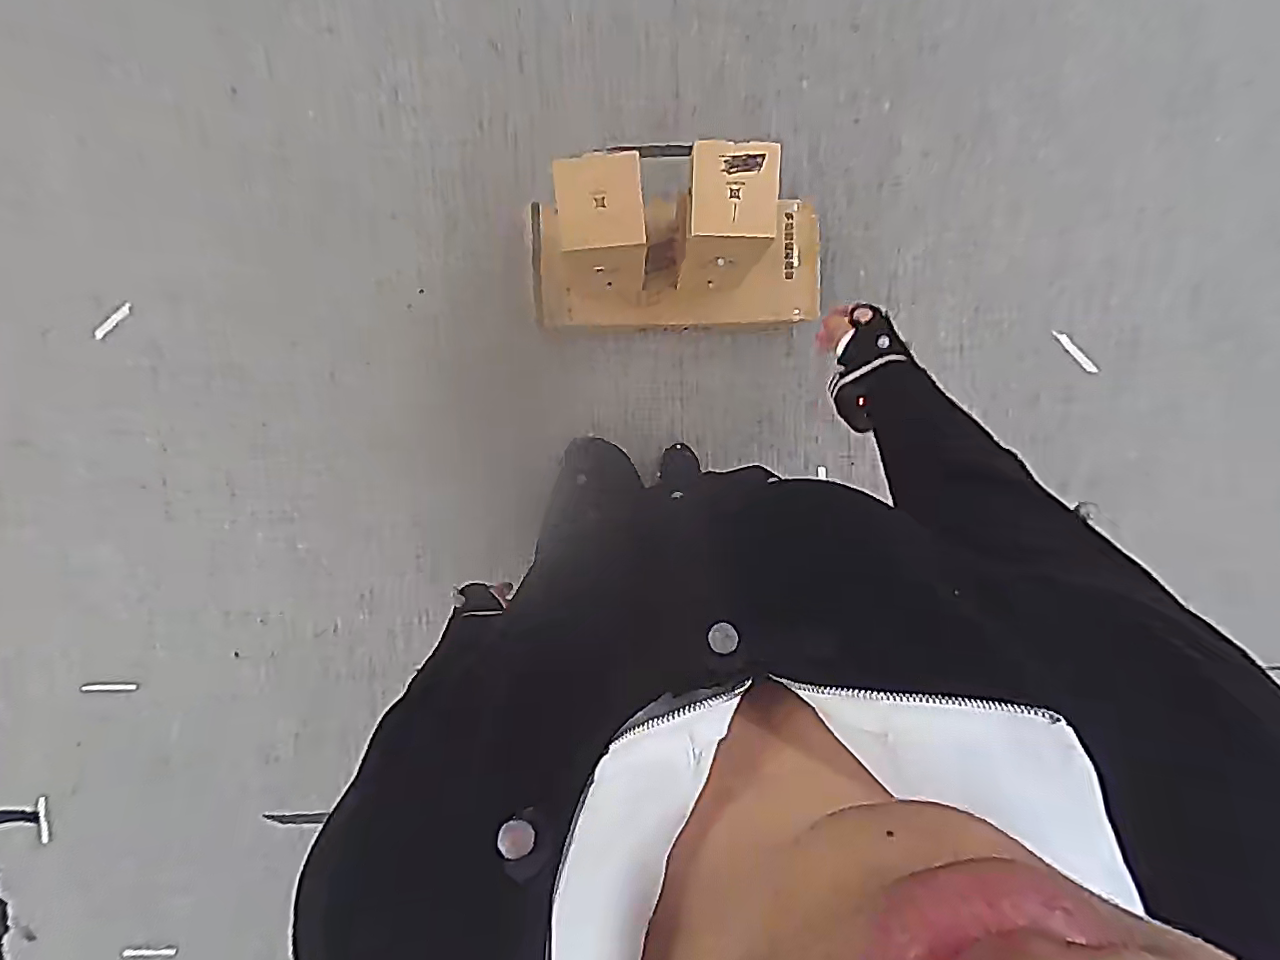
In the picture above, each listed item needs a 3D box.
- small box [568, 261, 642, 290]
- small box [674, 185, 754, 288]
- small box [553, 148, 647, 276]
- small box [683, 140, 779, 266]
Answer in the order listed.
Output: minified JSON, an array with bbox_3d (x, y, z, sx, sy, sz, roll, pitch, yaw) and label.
[{"bbox_3d":[-0.081,-0.551,1.263,0.168,0.176,0.179,-4,95,0],"label":"small box"},{"bbox_3d":[0.167,-0.565,1.266,0.168,0.176,0.179,-2,94,0],"label":"small box"},{"bbox_3d":[-0.078,-0.536,1.100,0.168,0.176,0.179,-6,95,0],"label":"small box"},{"bbox_3d":[0.178,-0.555,1.102,0.168,0.176,0.179,2,94,0],"label":"small box"}]
